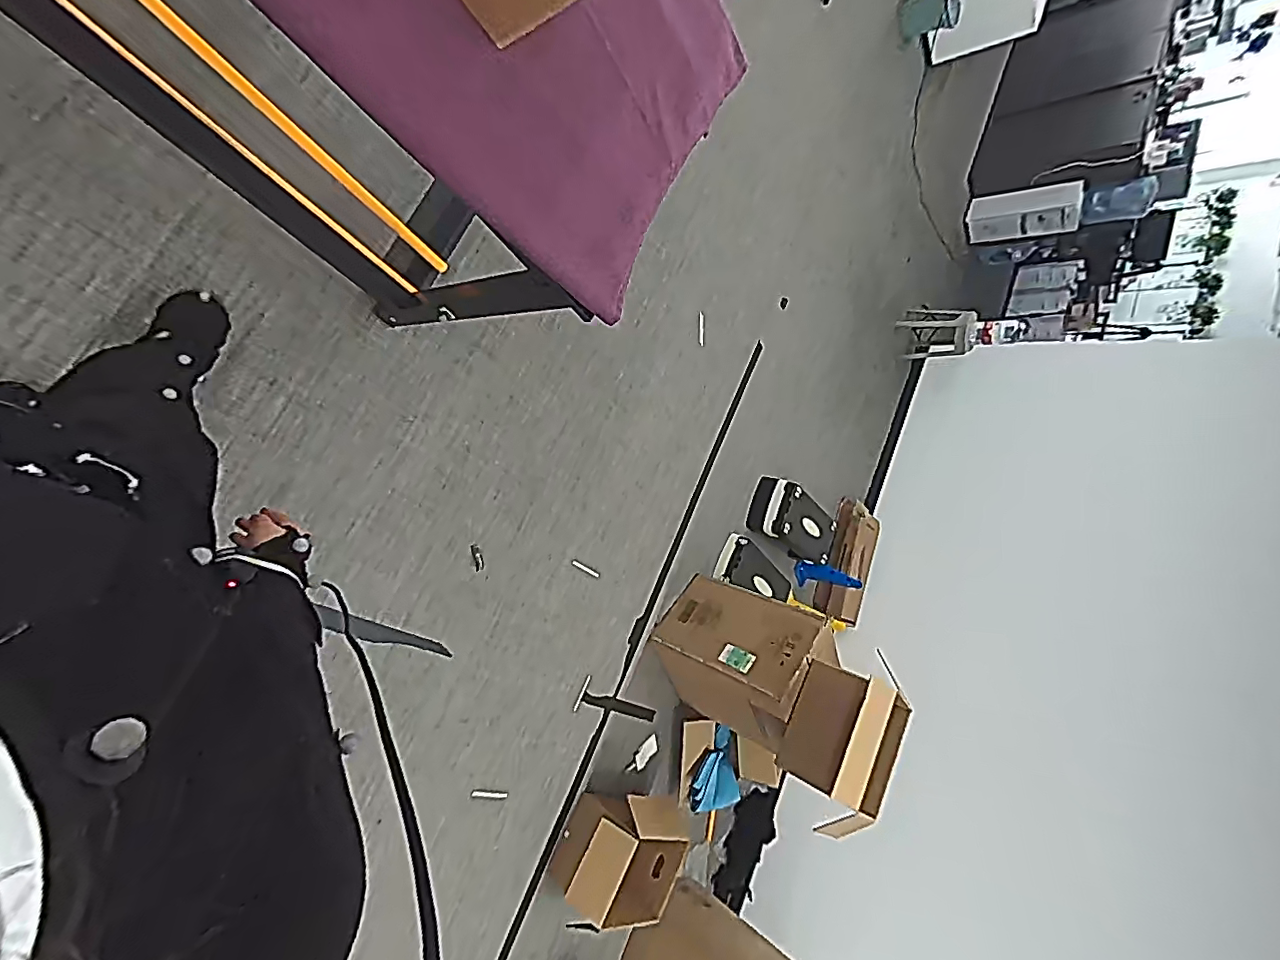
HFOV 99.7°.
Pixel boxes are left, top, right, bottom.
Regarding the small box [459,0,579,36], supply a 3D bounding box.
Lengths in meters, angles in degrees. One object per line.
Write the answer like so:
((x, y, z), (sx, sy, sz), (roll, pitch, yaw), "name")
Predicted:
((-0.138, -0.635, 0.587), (0.179, 0.176, 0.168), (36, 72, -46), "small box")
